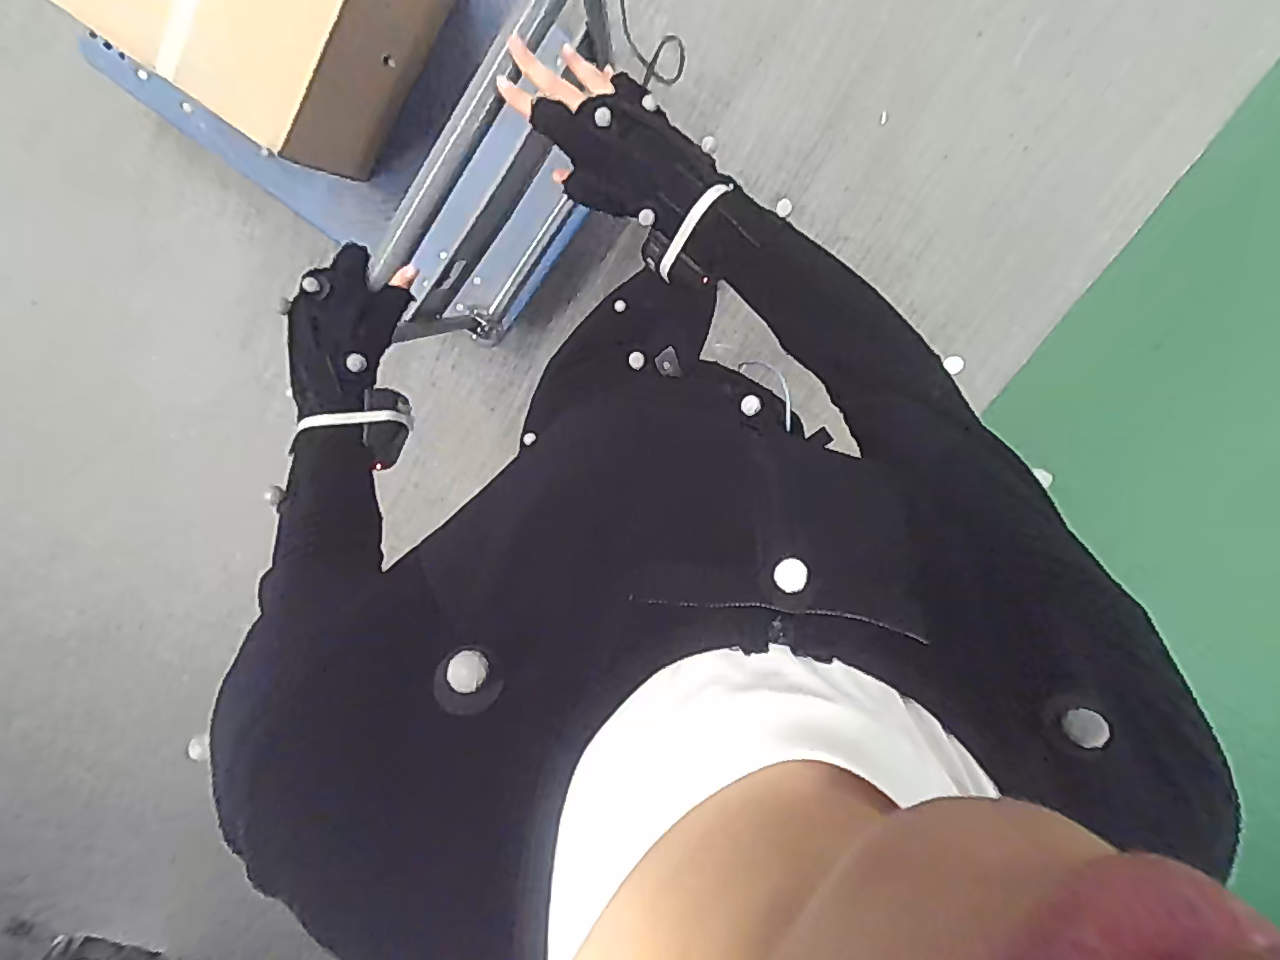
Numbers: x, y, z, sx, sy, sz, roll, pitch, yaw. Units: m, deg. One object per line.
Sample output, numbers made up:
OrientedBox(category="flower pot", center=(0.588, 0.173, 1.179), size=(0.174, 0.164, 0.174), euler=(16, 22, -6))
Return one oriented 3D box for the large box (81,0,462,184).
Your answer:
OrientedBox(category="large box", center=(-0.523, -0.753, 0.840), size=(0.320, 0.320, 0.408), euler=(32, 108, -14))
